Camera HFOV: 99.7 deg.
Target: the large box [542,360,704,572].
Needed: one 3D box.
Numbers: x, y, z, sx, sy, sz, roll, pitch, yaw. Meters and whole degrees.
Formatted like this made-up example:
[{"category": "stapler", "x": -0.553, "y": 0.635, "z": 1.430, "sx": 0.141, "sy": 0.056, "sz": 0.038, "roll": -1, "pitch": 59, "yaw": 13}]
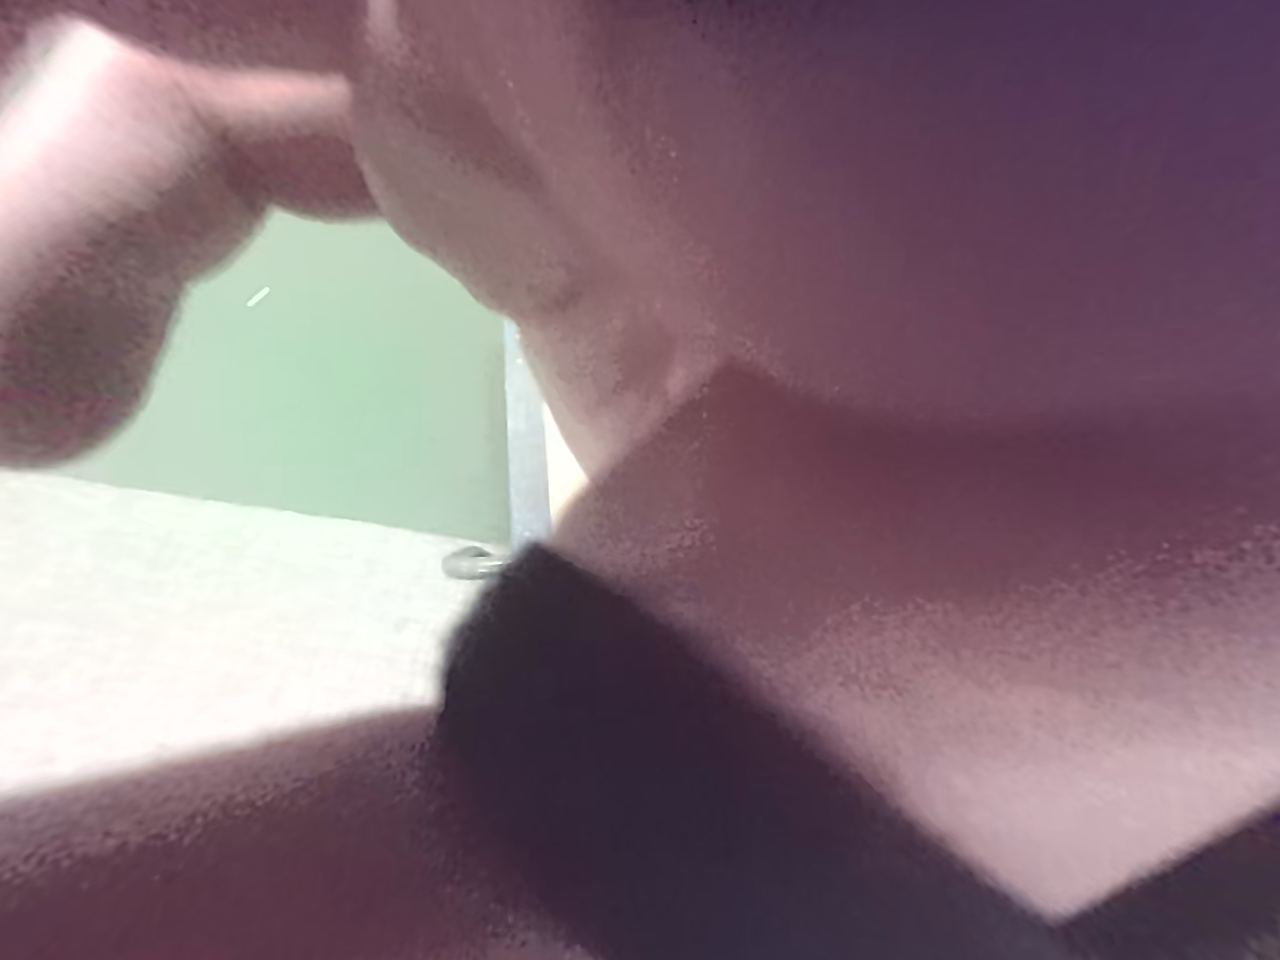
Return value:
[{"category": "large box", "x": -0.043, "y": -0.019, "z": 1.293, "sx": 0.320, "sy": 0.320, "sz": 0.408, "roll": -6, "pitch": 71, "yaw": -2}]
